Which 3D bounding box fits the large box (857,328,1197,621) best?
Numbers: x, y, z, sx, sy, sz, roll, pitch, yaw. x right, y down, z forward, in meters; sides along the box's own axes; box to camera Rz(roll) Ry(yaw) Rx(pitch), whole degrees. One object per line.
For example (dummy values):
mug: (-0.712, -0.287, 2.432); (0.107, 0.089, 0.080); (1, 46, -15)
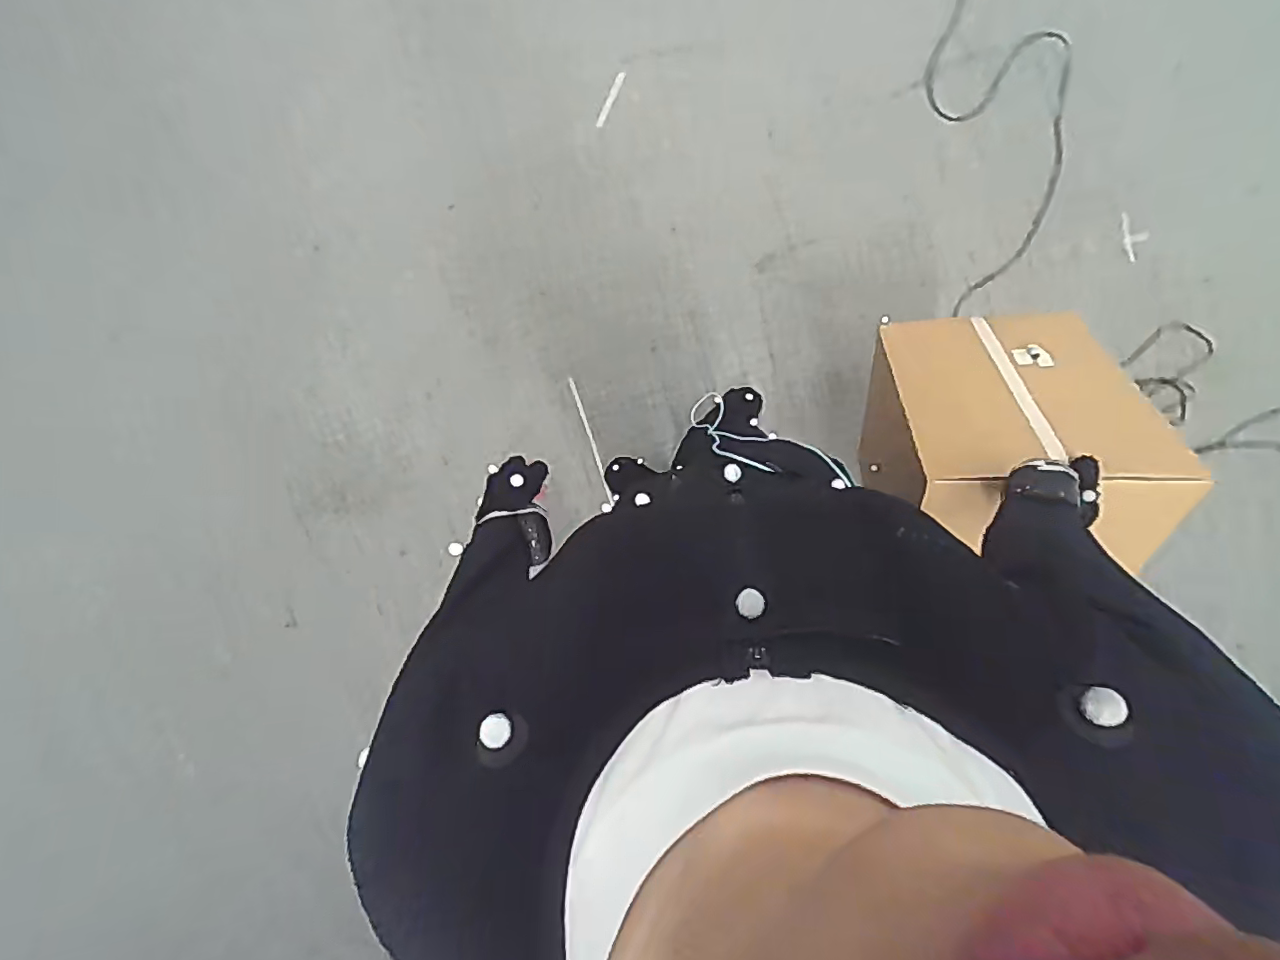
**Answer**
large box: (0.572, -0.016, 0.918); (0.320, 0.408, 0.320); (2, 134, 11)
